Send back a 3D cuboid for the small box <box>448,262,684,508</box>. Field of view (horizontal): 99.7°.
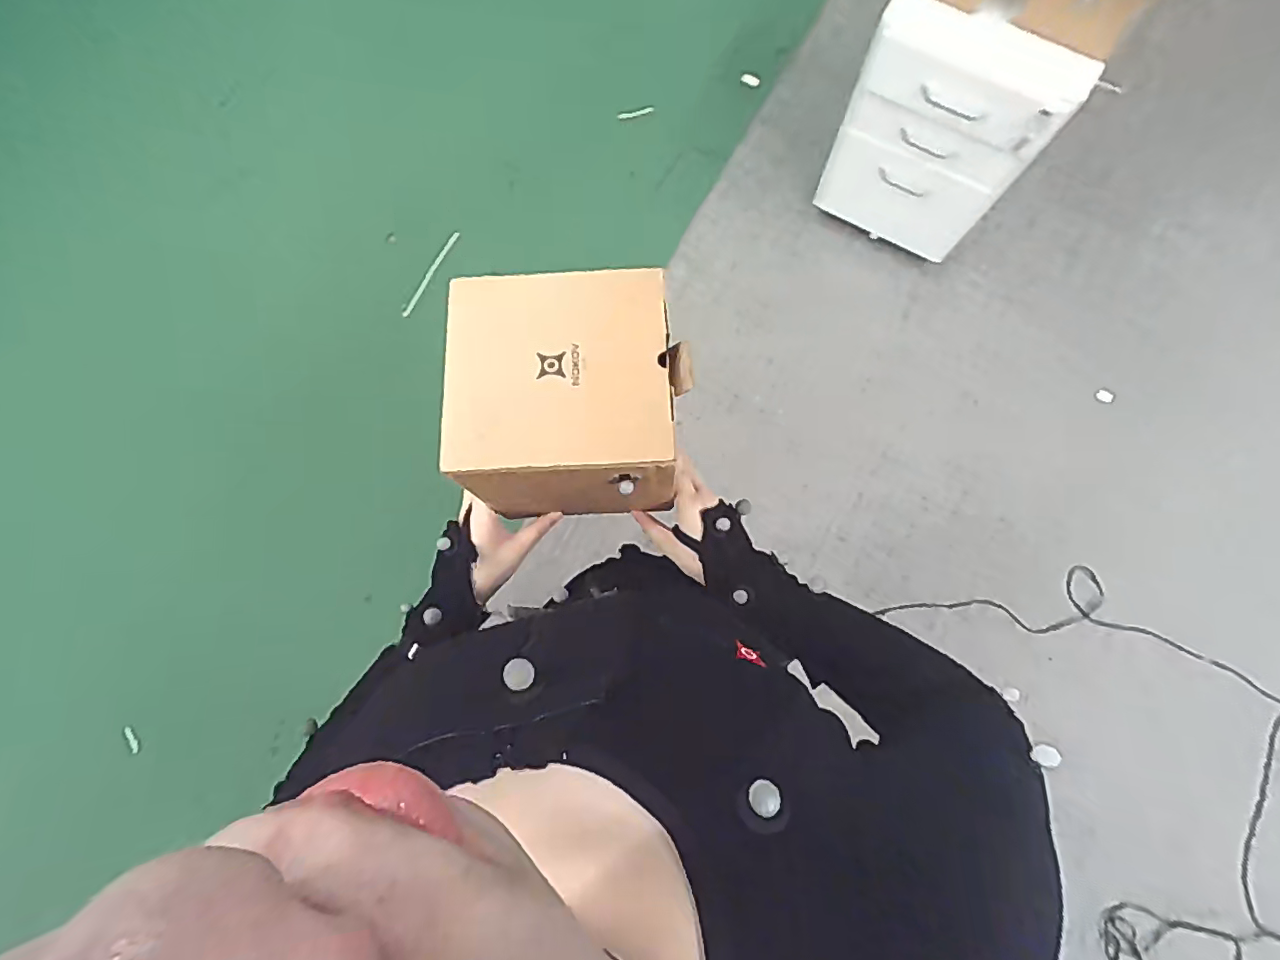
[{"bbox_3d":[-0.054,-0.072,0.491,0.179,0.176,0.168,-2,74,0],"label":"small box"}]

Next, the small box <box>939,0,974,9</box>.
[{"bbox_3d":[0.581,-0.997,0.951,0.168,0.176,0.179,31,85,6],"label":"small box"}]
